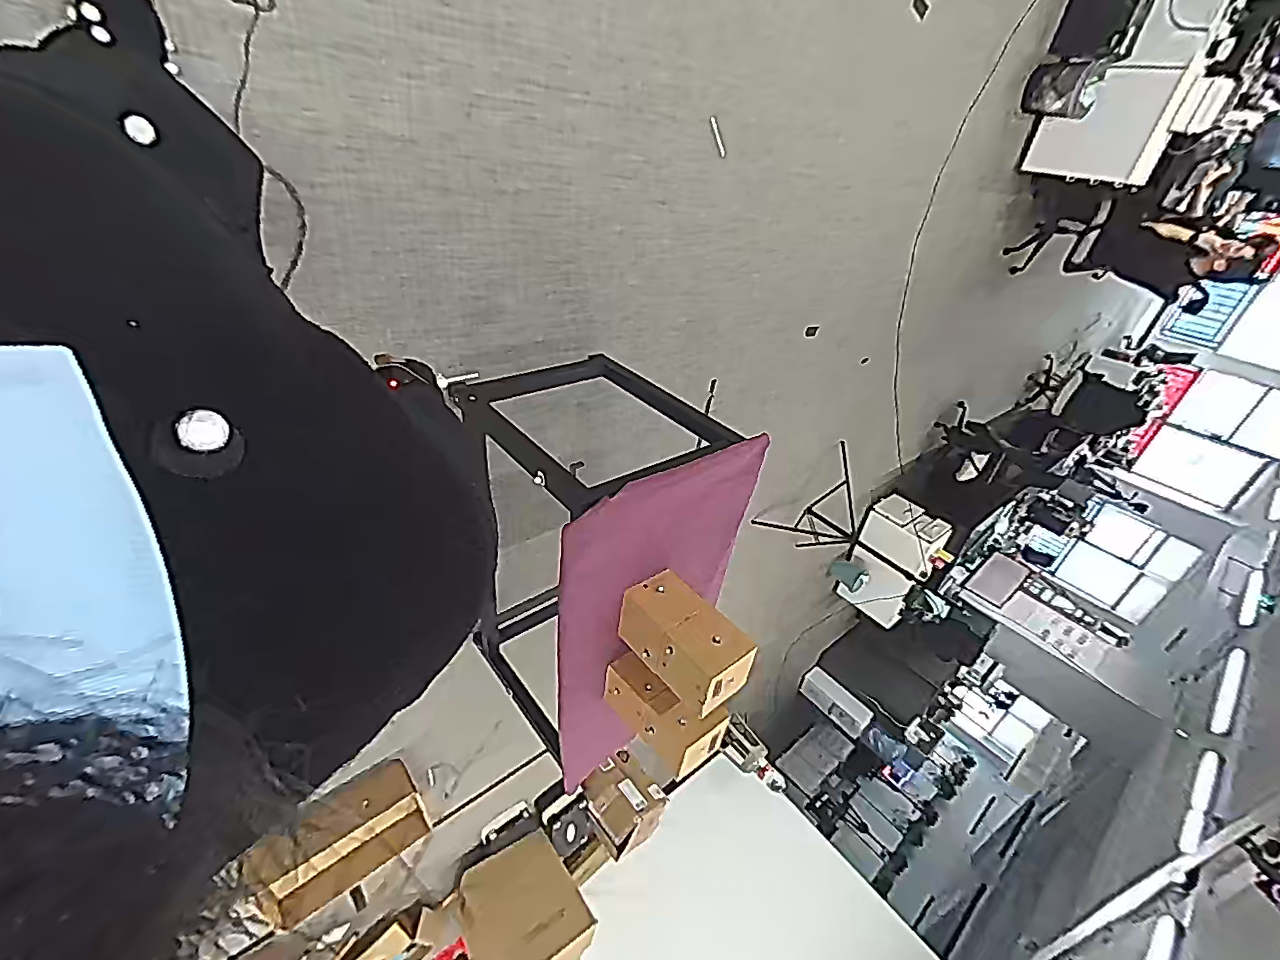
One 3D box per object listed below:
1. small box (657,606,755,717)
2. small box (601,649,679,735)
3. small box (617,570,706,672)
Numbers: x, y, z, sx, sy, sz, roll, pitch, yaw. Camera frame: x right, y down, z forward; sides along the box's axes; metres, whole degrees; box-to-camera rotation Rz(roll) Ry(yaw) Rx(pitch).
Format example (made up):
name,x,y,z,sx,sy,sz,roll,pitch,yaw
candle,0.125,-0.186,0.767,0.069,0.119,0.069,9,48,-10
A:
name,x,y,z,sx,sy,sz,roll,pitch,yaw
small box,0.164,0.463,1.401,0.179,0.176,0.168,-21,134,-36
small box,0.007,0.620,1.641,0.179,0.176,0.168,-20,133,-36
small box,0.054,0.383,1.494,0.168,0.176,0.179,-19,132,-37
